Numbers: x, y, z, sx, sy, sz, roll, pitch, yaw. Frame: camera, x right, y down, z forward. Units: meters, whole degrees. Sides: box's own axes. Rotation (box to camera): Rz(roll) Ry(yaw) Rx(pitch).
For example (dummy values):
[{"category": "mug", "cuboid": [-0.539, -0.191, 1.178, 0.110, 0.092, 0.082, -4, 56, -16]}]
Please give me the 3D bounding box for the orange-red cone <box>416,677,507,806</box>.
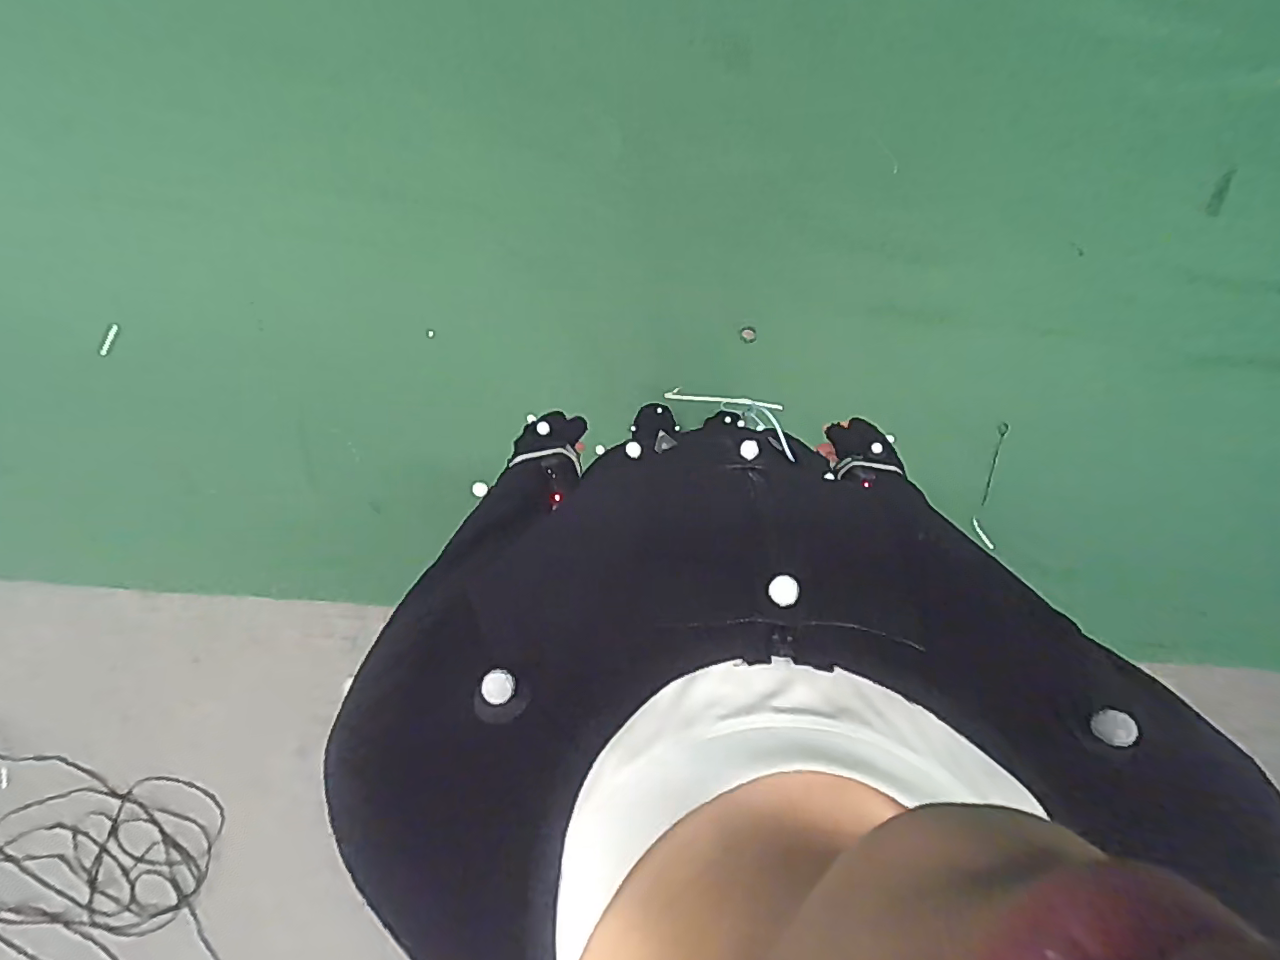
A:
[{"category": "orange-red cone", "cuboid": [-0.486, 0.695, 1.394, 0.198, 0.360, 0.199, 5, 99, 0]}]
